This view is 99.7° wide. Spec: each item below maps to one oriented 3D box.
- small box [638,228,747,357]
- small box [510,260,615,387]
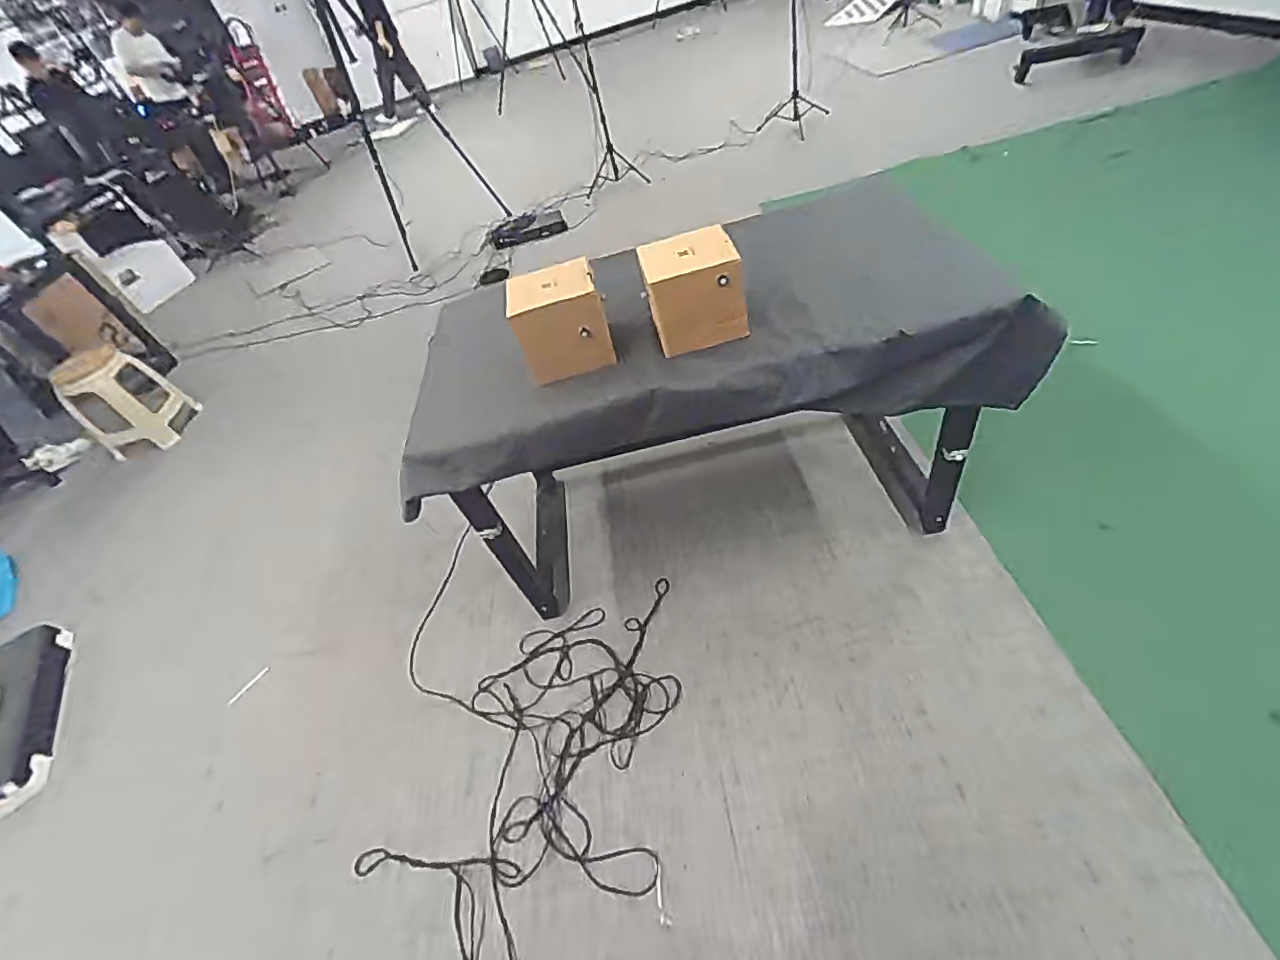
[{"bbox_3d":[0.107,-0.372,1.086,0.179,0.176,0.168,-15,45,3],"label":"small box"},{"bbox_3d":[-0.157,-0.323,1.123,0.179,0.176,0.168,-17,44,3],"label":"small box"}]
